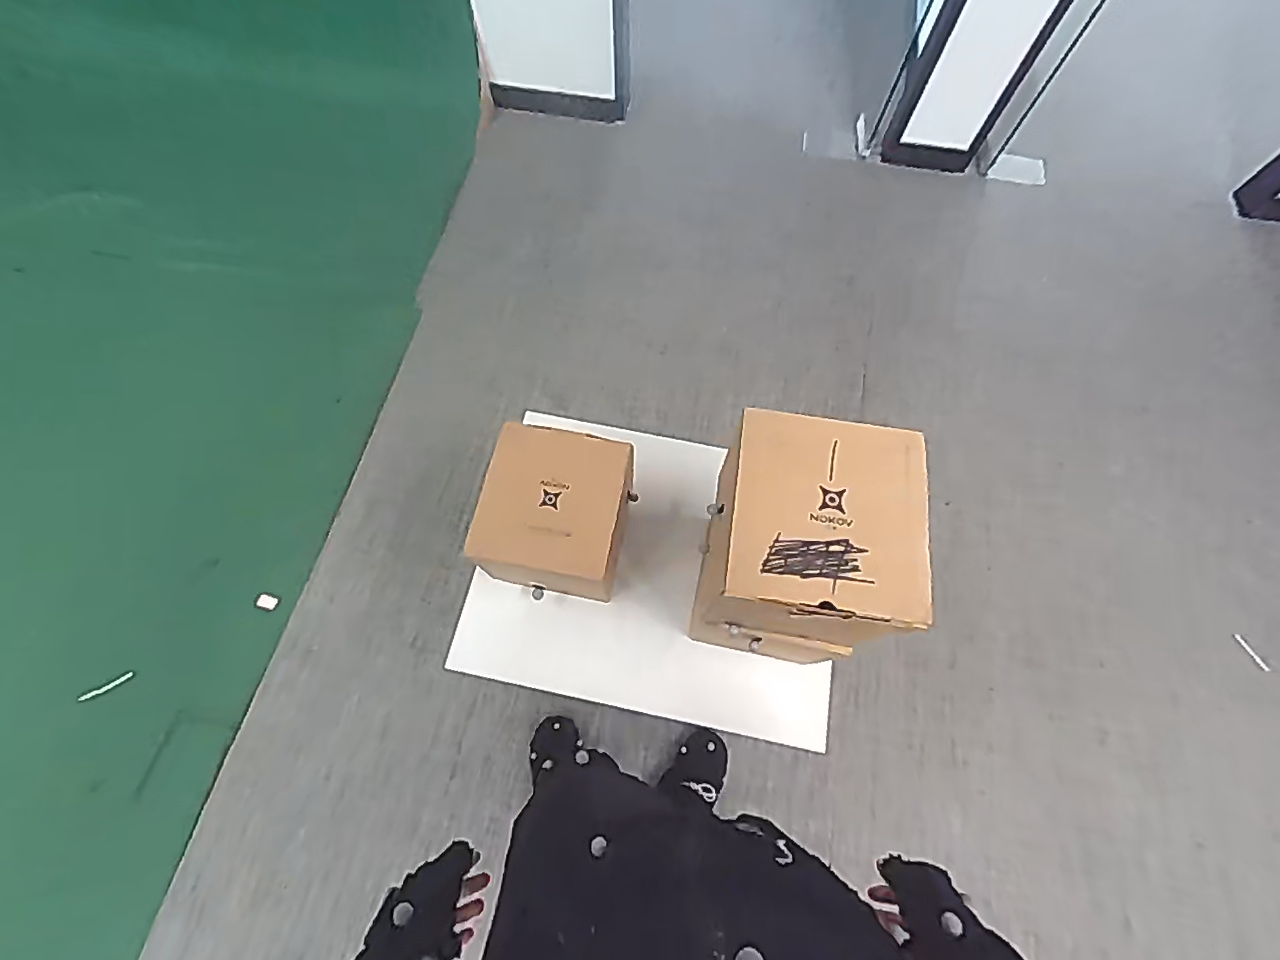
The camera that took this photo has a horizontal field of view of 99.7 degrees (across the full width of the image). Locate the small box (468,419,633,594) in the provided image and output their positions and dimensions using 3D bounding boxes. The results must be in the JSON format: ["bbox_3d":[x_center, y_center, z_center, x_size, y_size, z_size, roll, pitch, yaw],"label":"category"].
[{"bbox_3d":[-0.104,0.043,0.717,0.168,0.176,0.179,9,71,4],"label":"small box"}]

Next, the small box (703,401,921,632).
[{"bbox_3d":[0.158,0.047,0.537,0.168,0.176,0.179,8,69,3],"label":"small box"}]

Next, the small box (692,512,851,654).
[{"bbox_3d":[0.163,0.113,0.688,0.168,0.176,0.179,11,69,5],"label":"small box"}]
